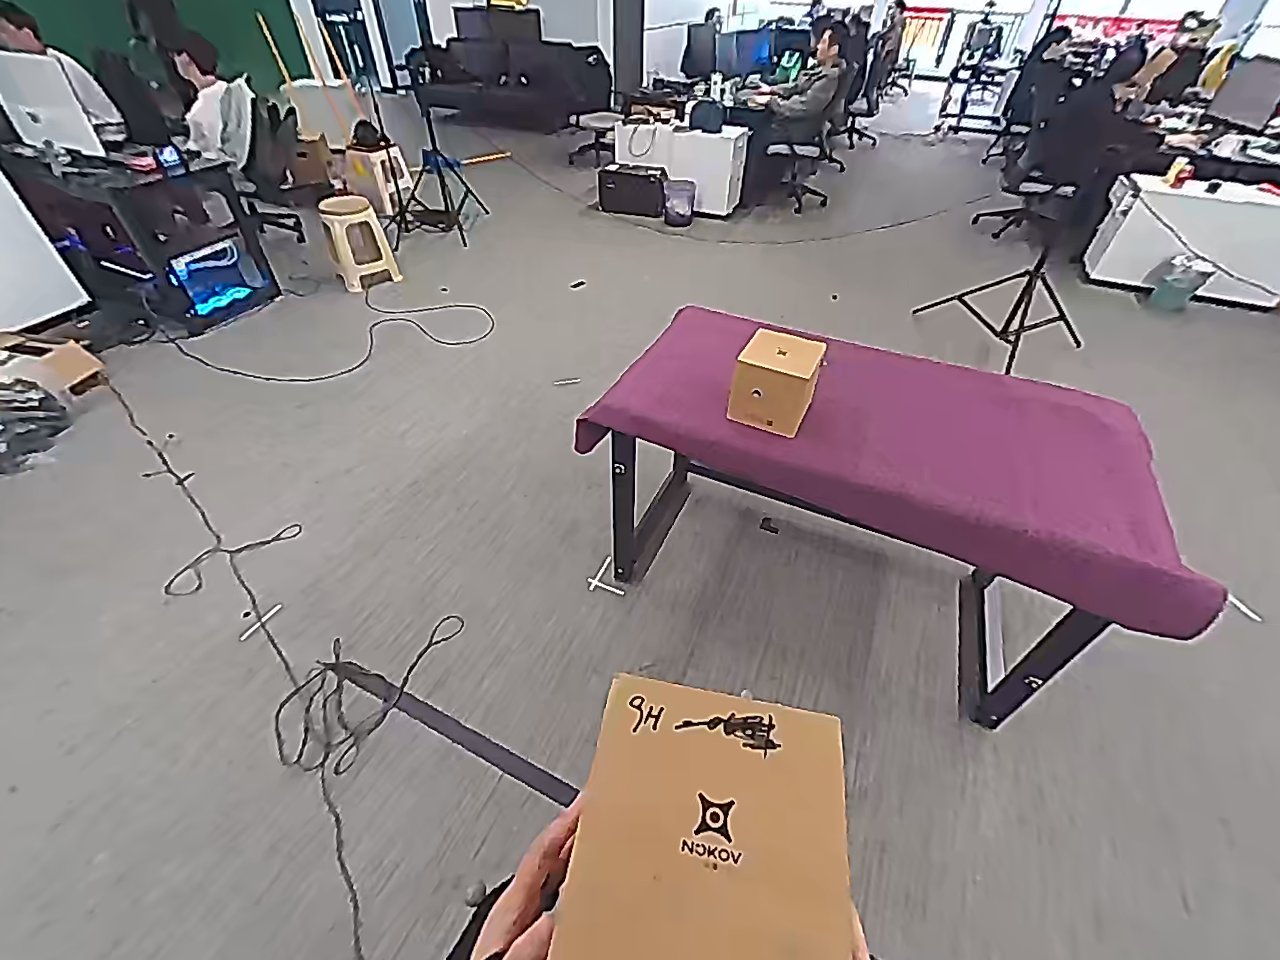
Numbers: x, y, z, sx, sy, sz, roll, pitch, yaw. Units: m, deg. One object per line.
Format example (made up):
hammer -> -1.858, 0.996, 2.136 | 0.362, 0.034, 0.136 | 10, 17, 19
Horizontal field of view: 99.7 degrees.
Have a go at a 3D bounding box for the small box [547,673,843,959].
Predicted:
small box -> 0.043, 0.273, 0.401 | 0.168, 0.176, 0.179 | 9, 50, 7

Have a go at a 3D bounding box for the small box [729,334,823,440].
small box -> 0.319, -0.221, 1.290 | 0.168, 0.176, 0.179 | 20, 45, 18
